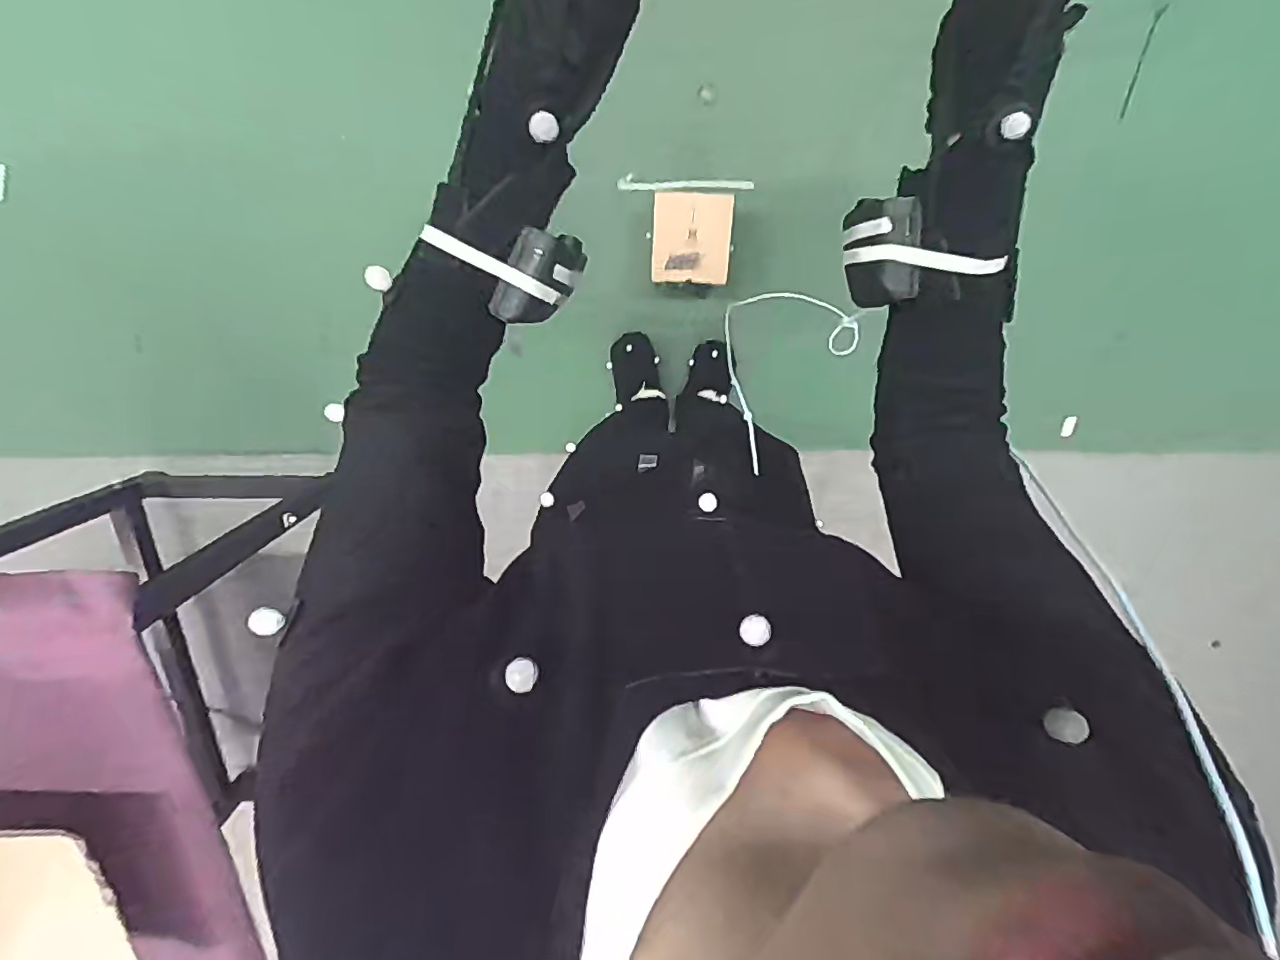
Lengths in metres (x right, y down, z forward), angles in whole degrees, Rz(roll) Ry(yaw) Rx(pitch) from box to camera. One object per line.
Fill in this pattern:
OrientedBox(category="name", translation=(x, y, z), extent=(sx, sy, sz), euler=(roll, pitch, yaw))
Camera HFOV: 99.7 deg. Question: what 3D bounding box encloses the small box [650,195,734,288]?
OrientedBox(category="small box", translation=(0.111, -0.530, 1.219), extent=(0.168, 0.176, 0.179), euler=(3, 109, 0))
